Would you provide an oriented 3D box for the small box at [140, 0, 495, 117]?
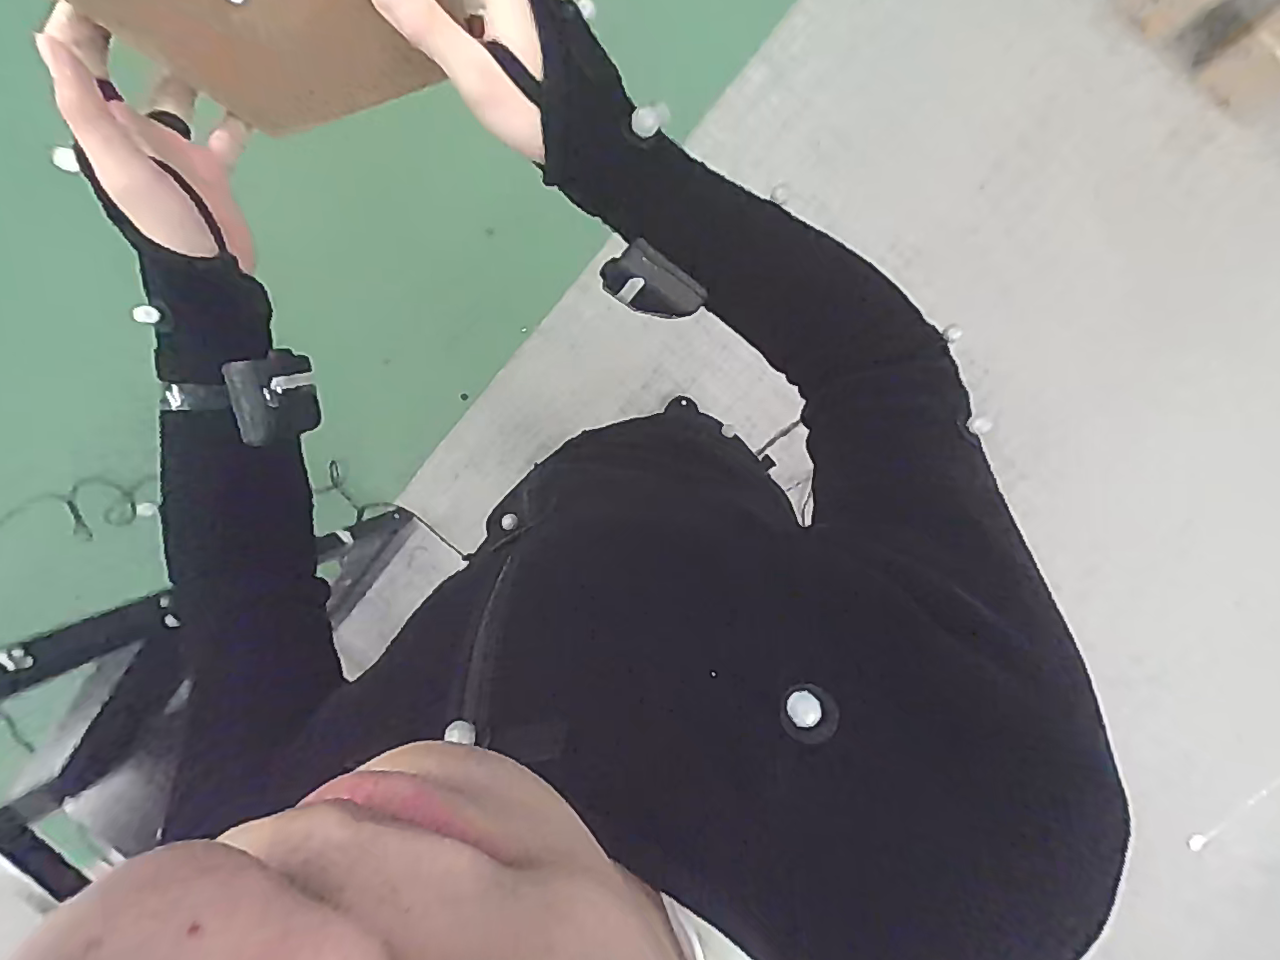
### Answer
[{"bbox_3d":[-0.211,-0.355,0.315,0.179,0.176,0.168,-11,95,8],"label":"small box"}]

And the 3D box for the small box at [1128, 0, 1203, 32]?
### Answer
[{"bbox_3d":[1.281,-1.206,1.249,0.168,0.176,0.179,43,100,-2],"label":"small box"}]
